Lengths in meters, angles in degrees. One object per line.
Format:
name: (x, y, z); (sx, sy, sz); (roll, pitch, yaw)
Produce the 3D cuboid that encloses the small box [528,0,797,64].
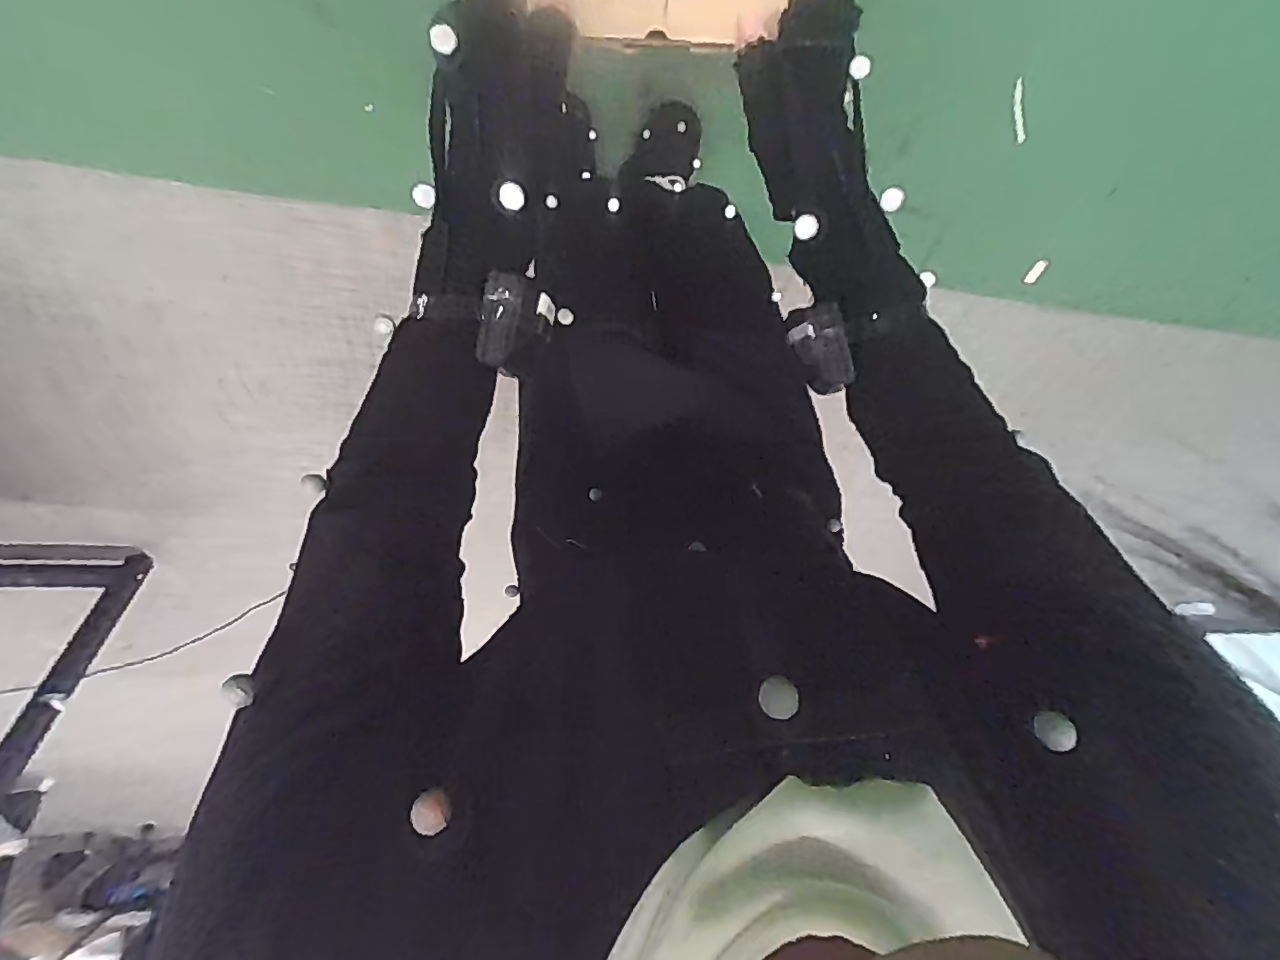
small box: (0.013, -0.386, 0.347); (0.168, 0.176, 0.179); (-1, 130, -5)
